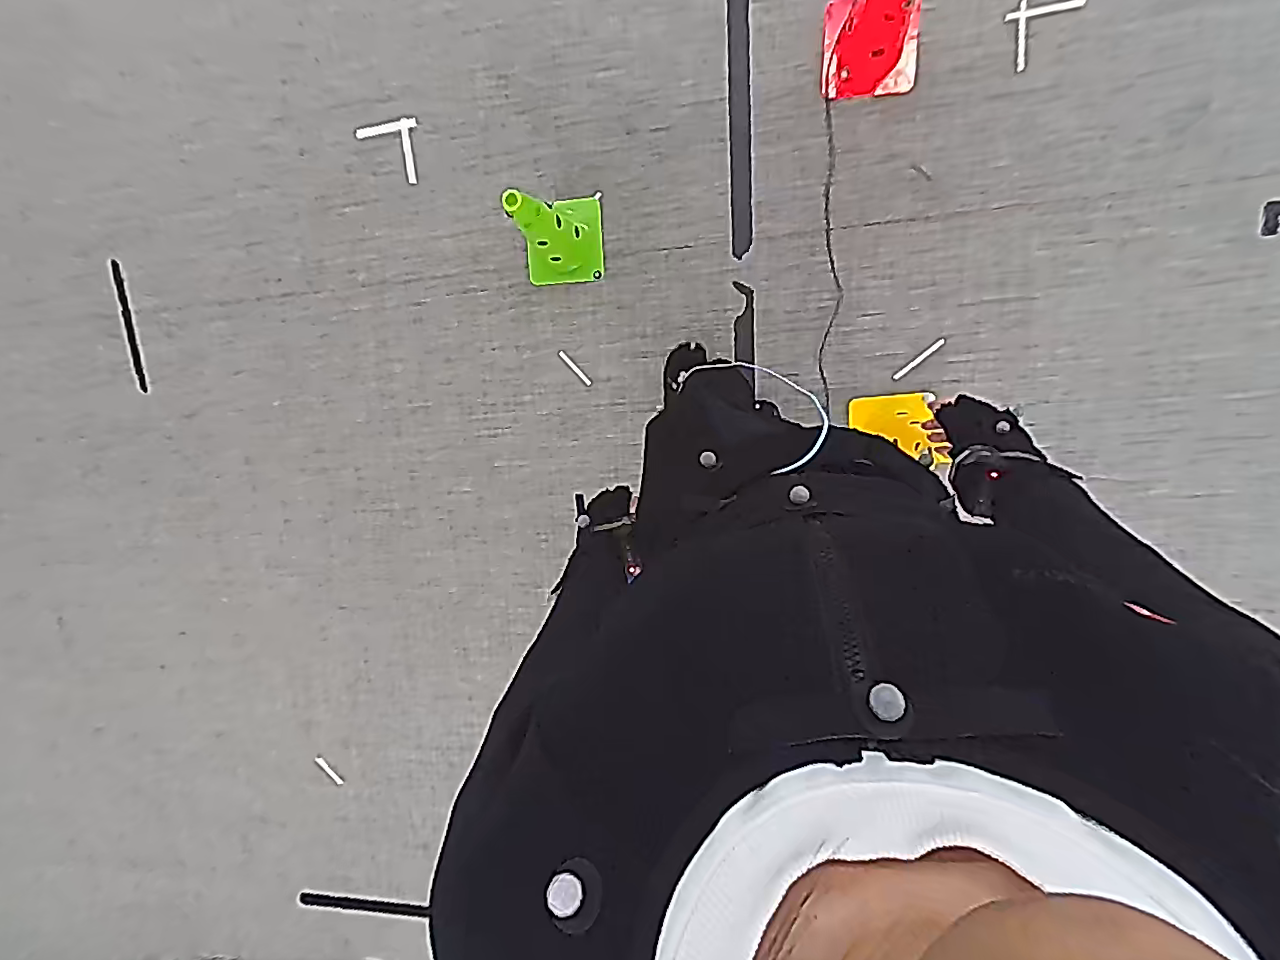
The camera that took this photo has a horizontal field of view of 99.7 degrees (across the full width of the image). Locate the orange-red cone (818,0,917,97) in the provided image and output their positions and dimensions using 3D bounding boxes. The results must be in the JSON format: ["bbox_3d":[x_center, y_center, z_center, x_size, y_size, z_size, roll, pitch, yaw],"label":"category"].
[{"bbox_3d":[0.481,-0.934,1.041,0.199,0.360,0.198,3,102,8],"label":"orange-red cone"}]

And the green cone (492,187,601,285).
[{"bbox_3d":[-0.231,-0.580,1.215,0.202,0.368,0.200,-1,99,11],"label":"green cone"}]
